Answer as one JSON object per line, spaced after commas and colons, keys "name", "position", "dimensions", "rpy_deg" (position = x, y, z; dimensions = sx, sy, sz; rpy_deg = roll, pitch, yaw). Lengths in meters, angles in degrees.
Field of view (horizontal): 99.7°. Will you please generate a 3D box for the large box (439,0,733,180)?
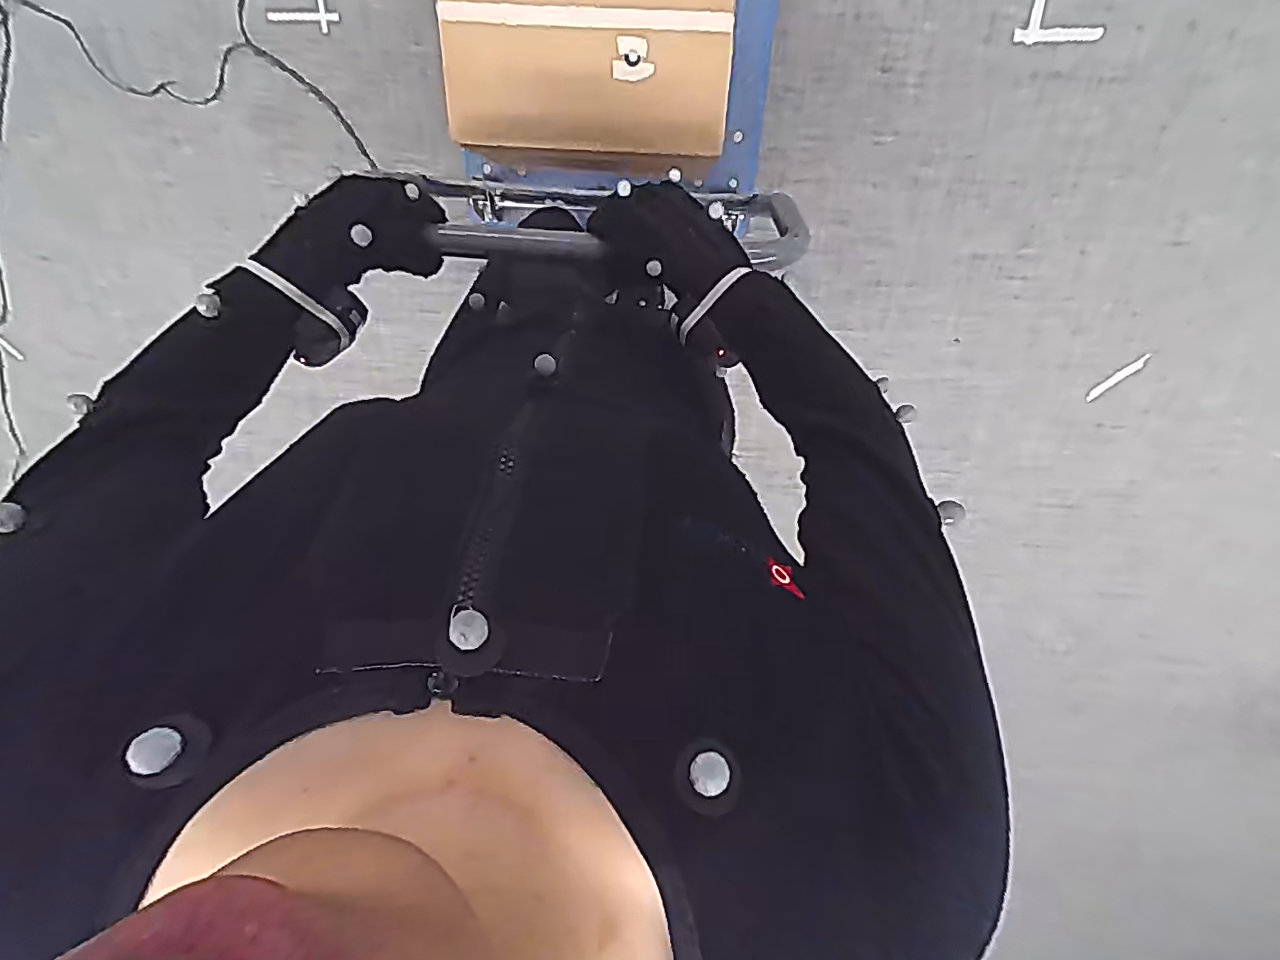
{"name": "large box", "position": [-0.074, -0.679, 0.873], "dimensions": [0.408, 0.320, 0.320], "rpy_deg": [2, 114, 0]}
